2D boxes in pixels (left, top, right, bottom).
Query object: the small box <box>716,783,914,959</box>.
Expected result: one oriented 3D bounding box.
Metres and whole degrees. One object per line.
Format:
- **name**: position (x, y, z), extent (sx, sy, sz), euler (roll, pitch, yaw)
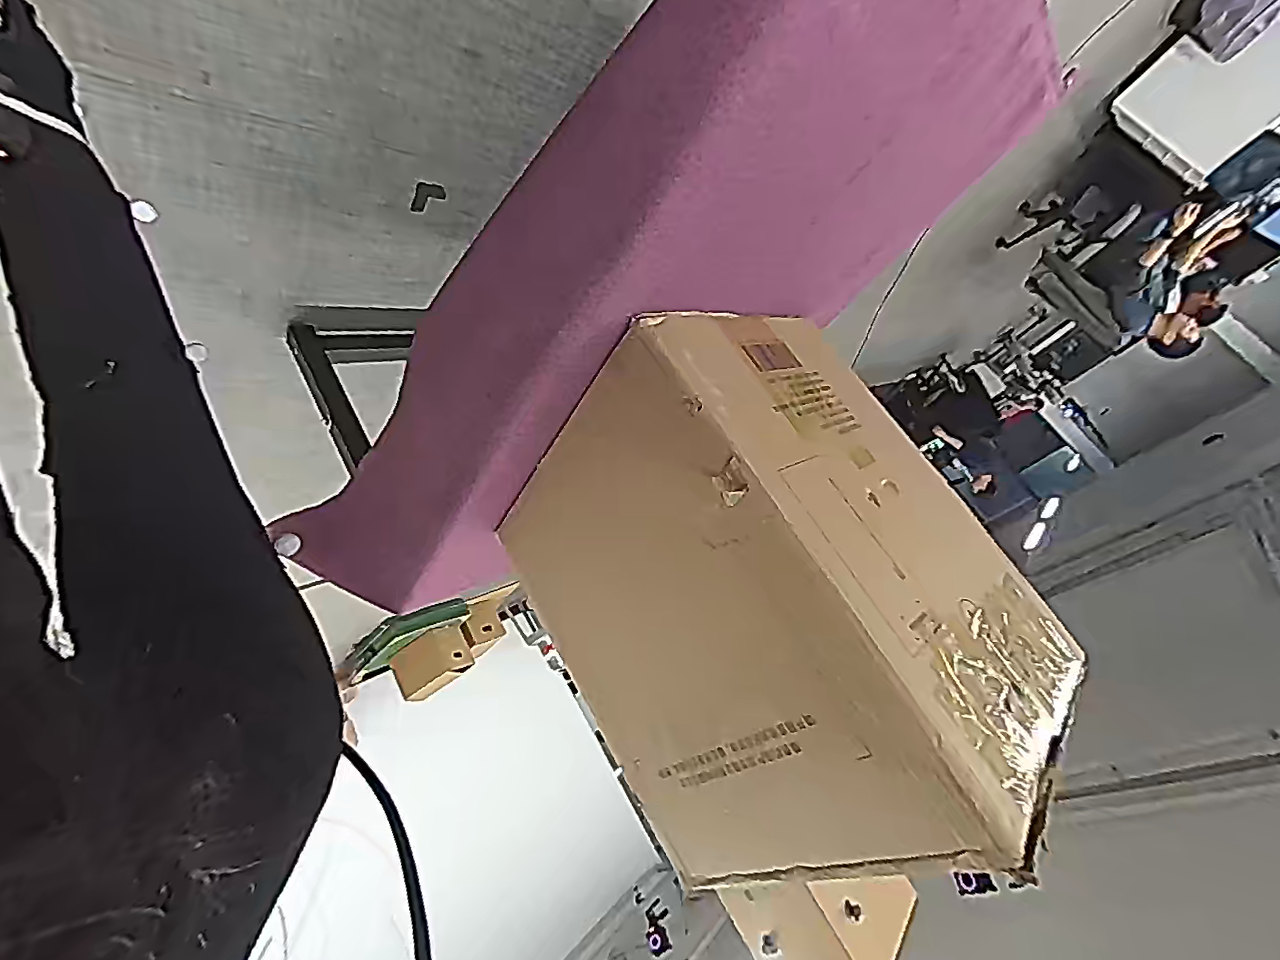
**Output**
- **small box**: position (0.239, 0.567, 0.755), extent (0.179, 0.176, 0.168), euler (-16, 157, -49)
